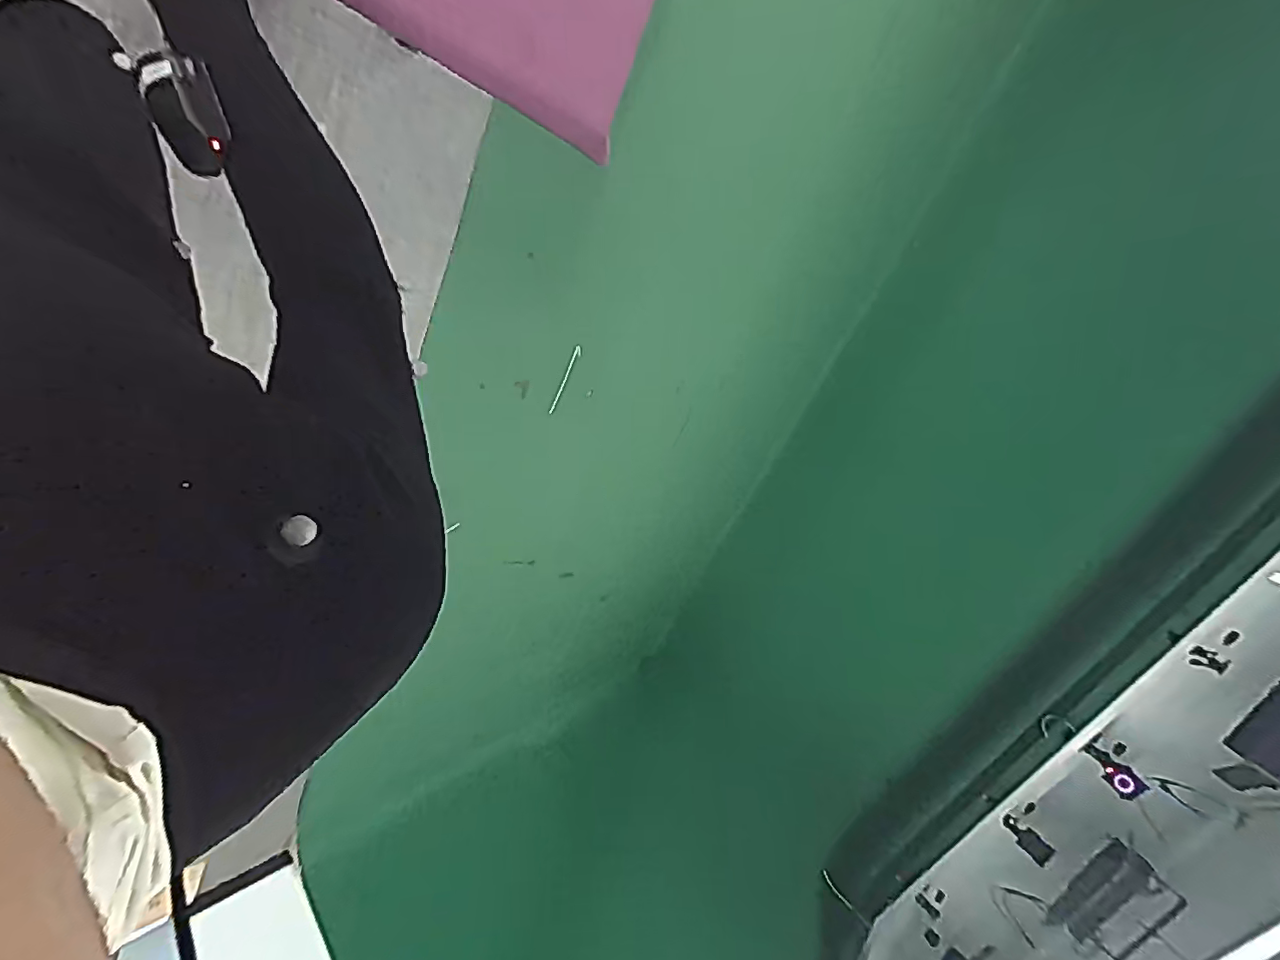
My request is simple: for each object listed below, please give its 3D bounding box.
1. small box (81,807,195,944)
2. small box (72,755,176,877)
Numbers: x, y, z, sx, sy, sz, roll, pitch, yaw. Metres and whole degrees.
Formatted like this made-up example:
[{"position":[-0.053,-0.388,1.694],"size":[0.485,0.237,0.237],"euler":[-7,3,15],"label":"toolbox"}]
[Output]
[{"position":[-1.224,0.949,1.315],"size":[0.168,0.176,0.179],"euler":[1,123,-56],"label":"small box"},{"position":[-1.334,0.857,1.395],"size":[0.168,0.176,0.179],"euler":[-1,125,-54],"label":"small box"}]
